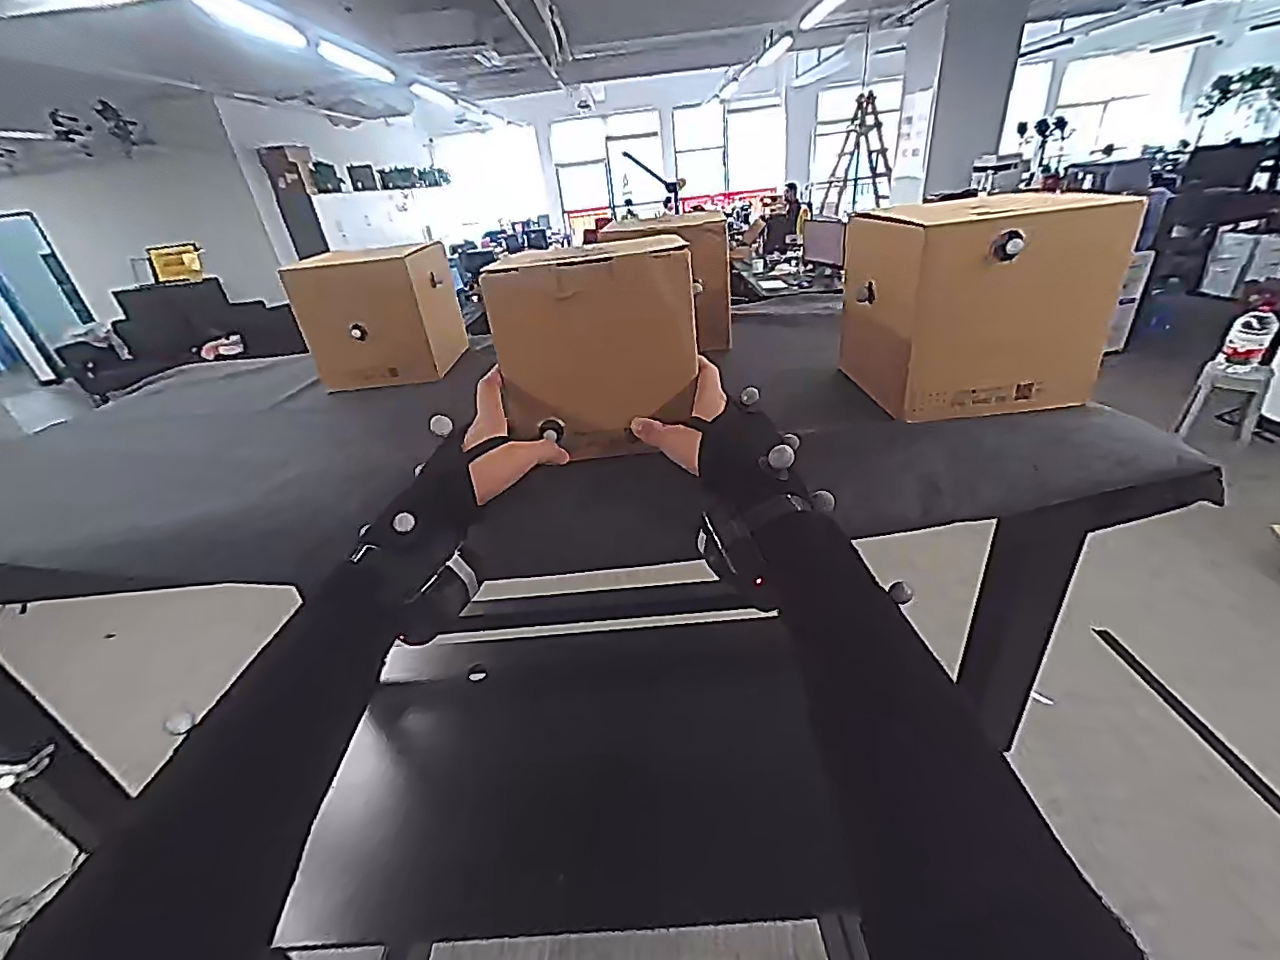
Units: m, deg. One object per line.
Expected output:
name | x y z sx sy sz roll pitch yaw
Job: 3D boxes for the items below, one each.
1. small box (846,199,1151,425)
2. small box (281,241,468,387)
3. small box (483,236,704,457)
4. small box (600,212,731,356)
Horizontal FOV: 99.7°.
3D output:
small box | 0.307 -0.164 0.515 0.168 0.176 0.179 -6 28 3
small box | -0.366 -0.239 0.789 0.168 0.176 0.179 -5 30 1
small box | -0.031 -0.128 0.520 0.168 0.176 0.179 -5 27 3
small box | 0.045 -0.281 0.784 0.168 0.176 0.179 -2 29 6
